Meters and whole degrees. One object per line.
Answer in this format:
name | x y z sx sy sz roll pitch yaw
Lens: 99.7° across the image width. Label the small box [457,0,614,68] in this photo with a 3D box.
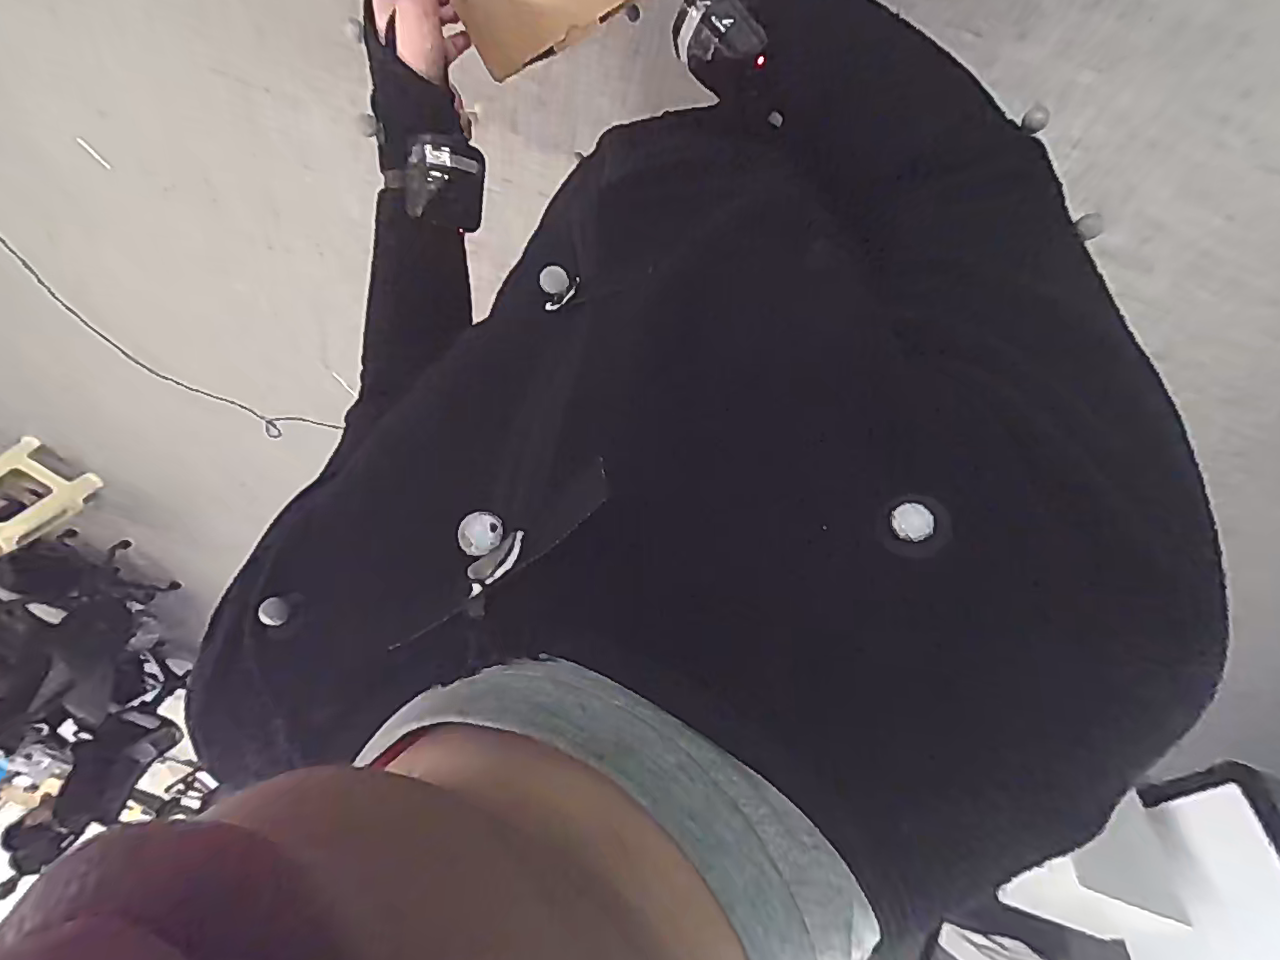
small box | -0.077 -0.481 0.430 0.168 0.176 0.179 -13 133 23
